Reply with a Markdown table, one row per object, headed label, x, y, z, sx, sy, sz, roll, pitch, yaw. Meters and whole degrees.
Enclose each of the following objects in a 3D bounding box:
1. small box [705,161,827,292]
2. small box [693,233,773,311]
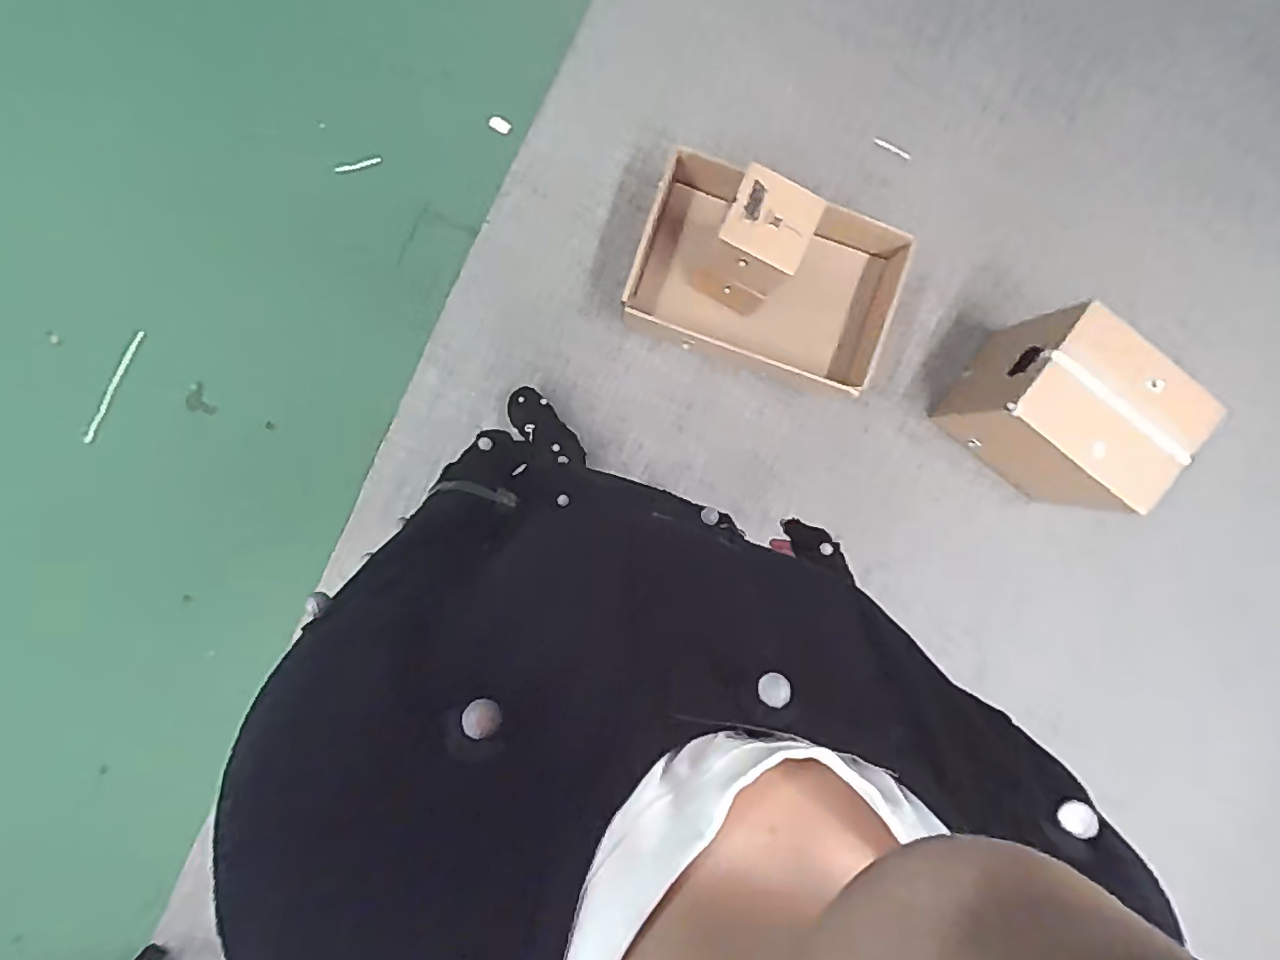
| label | x | y | z | sx | sy | sz | roll | pitch | yaw |
| --- | --- | --- | --- | --- | --- | --- | --- | --- | --- |
| small box | 0.257 | -0.528 | 1.157 | 0.179 | 0.176 | 0.168 | 25 | 92 | -7 |
| small box | 0.247 | -0.536 | 1.321 | 0.179 | 0.176 | 0.168 | 26 | 92 | -7 |
